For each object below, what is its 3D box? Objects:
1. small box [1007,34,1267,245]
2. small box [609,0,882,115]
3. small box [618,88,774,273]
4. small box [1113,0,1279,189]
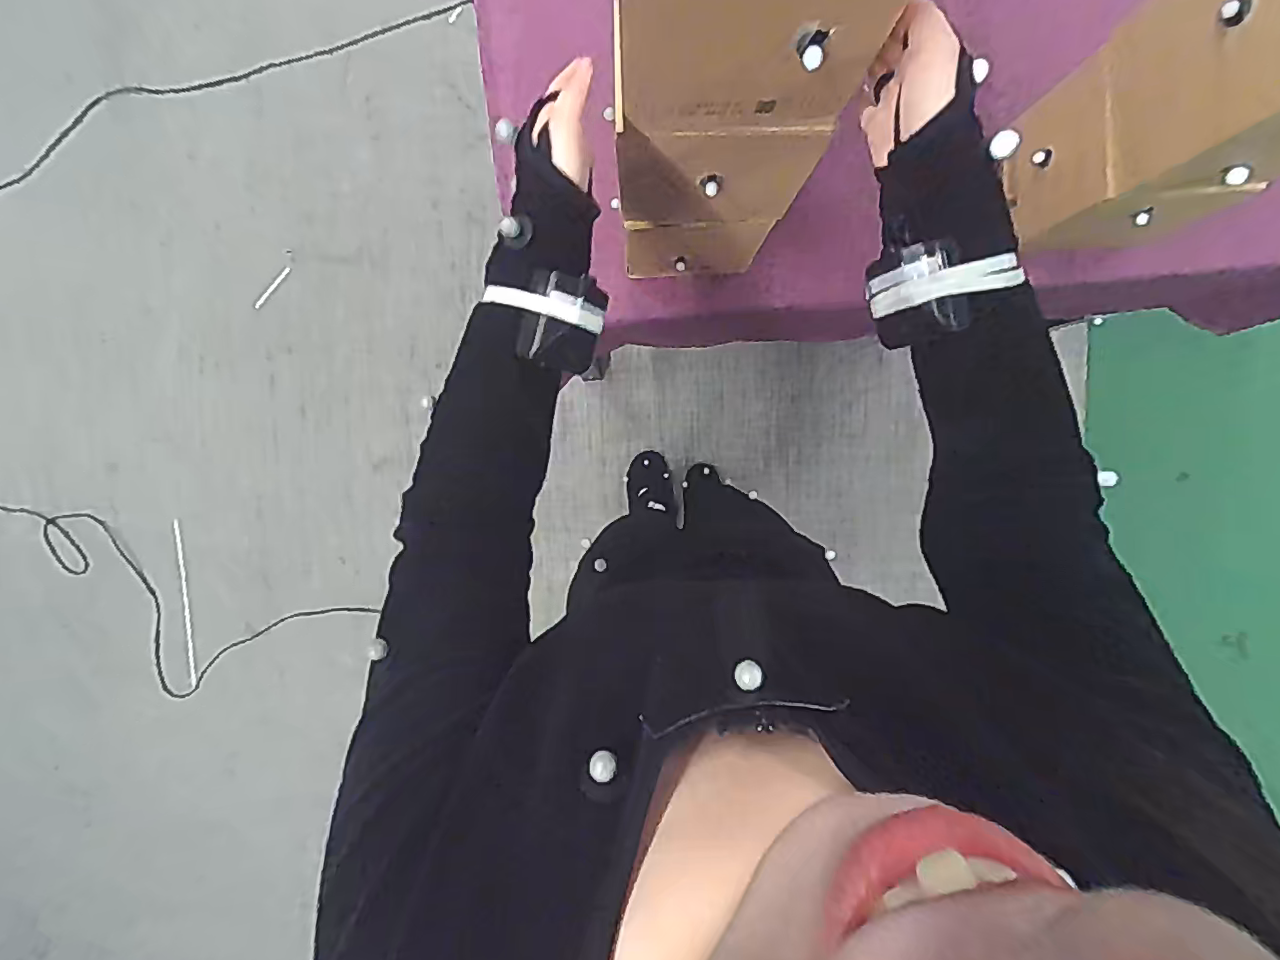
[{"bbox_3d":[0.579,-0.399,0.655,0.179,0.176,0.168,-3,94,0],"label":"small box"},{"bbox_3d":[0.062,-0.356,0.332,0.168,0.176,0.179,-2,93,0],"label":"small box"},{"bbox_3d":[0.059,-0.370,0.659,0.168,0.176,0.179,-4,94,0],"label":"small box"},{"bbox_3d":[0.578,-0.397,0.490,0.168,0.176,0.179,-6,94,1],"label":"small box"}]
